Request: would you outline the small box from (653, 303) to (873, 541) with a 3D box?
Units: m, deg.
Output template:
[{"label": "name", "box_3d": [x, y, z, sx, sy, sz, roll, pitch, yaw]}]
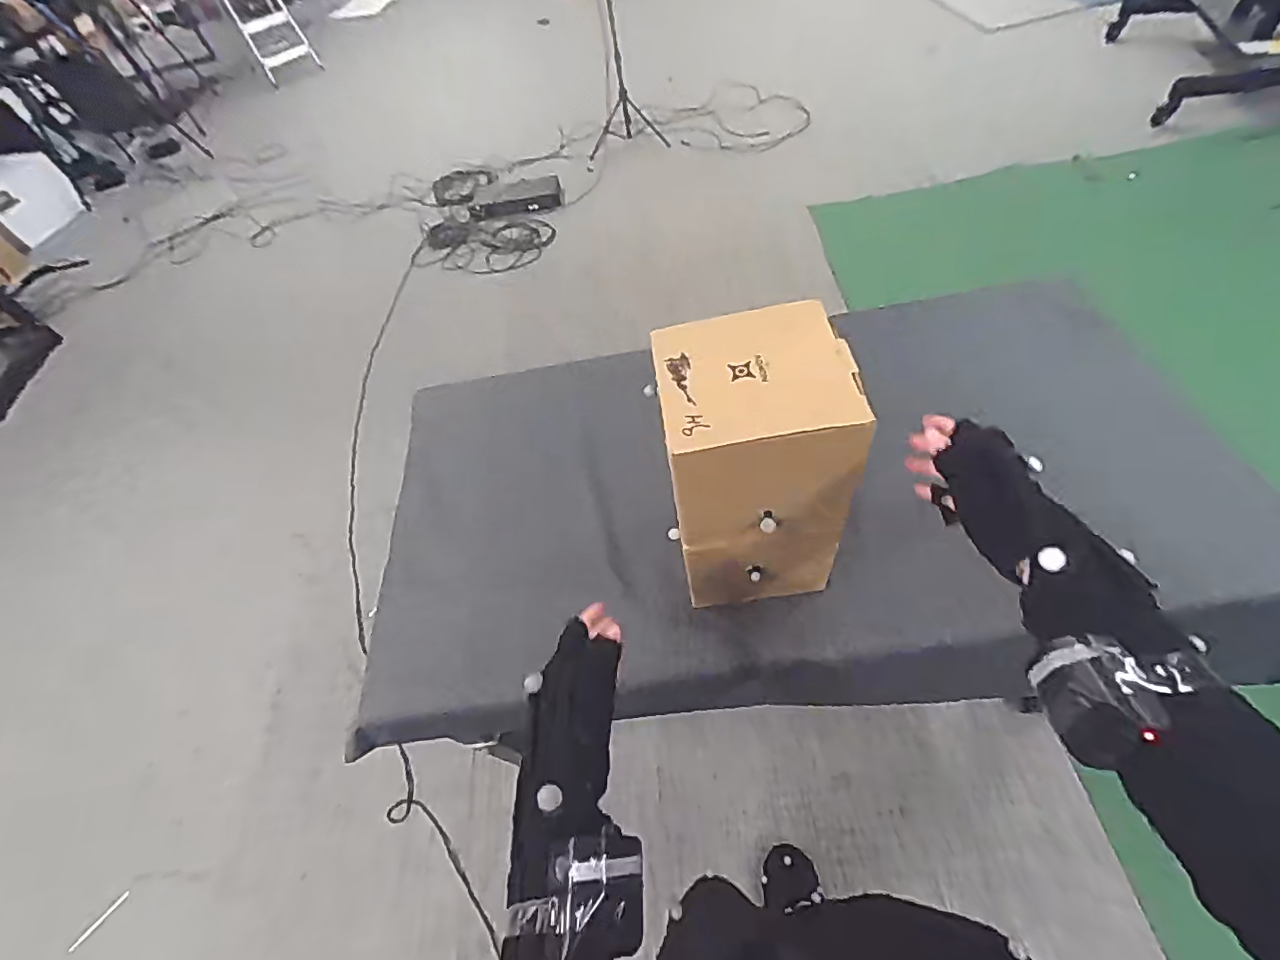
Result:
[{"label": "small box", "box_3d": [0.113, -0.053, 0.563, 0.179, 0.176, 0.168, -9, 53, 4]}]

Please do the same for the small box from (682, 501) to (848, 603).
[{"label": "small box", "box_3d": [0.140, 0.042, 0.696, 0.179, 0.176, 0.168, -11, 55, 1]}]
